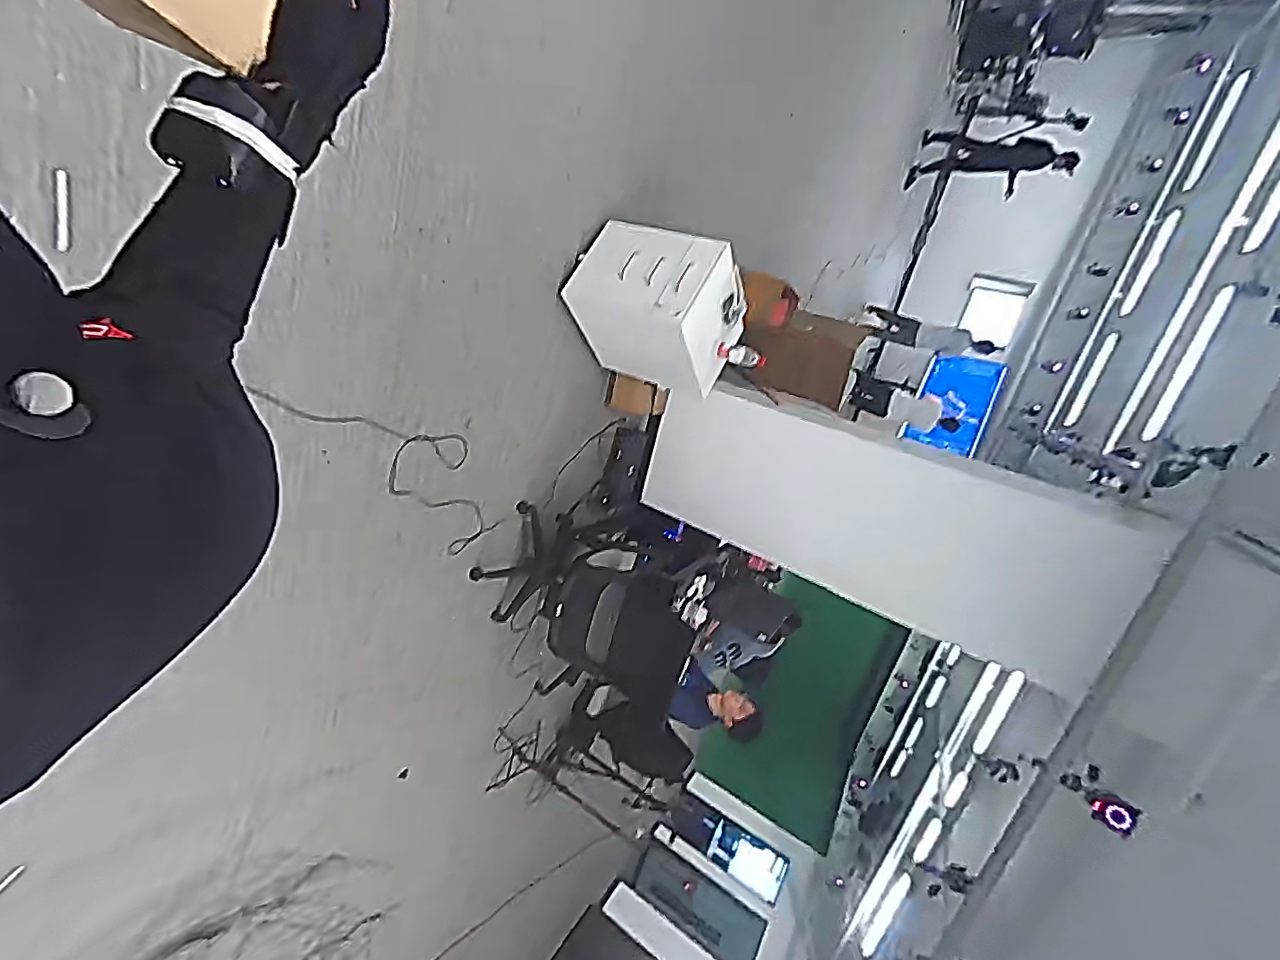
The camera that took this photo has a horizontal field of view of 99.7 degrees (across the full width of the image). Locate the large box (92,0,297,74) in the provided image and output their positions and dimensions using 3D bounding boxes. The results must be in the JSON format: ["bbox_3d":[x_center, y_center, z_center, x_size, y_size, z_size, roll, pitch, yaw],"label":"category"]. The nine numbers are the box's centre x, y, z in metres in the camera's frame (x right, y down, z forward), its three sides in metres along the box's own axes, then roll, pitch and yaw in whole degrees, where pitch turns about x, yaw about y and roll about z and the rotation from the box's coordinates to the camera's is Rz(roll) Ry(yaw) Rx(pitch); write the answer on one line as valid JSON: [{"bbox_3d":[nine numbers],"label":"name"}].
[{"bbox_3d":[-0.414,-0.548,0.295,0.320,0.320,0.408,-57,155,5],"label":"large box"}]
